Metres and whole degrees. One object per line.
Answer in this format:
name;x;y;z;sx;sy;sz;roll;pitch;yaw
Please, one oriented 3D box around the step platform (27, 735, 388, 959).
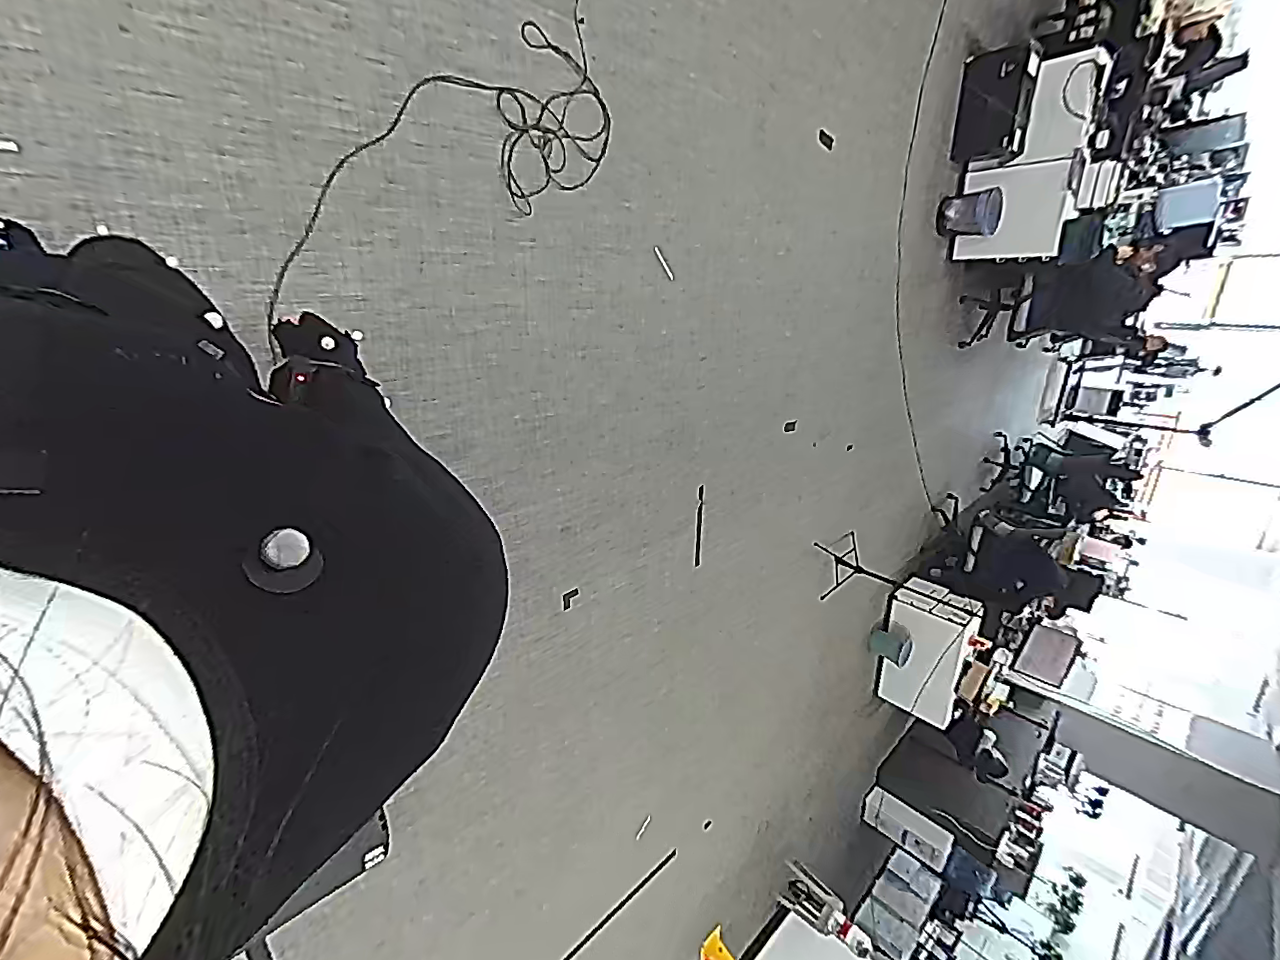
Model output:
step platform;-1.002;0.957;1.344;0.684;0.204;0.286;-19;116;-38
